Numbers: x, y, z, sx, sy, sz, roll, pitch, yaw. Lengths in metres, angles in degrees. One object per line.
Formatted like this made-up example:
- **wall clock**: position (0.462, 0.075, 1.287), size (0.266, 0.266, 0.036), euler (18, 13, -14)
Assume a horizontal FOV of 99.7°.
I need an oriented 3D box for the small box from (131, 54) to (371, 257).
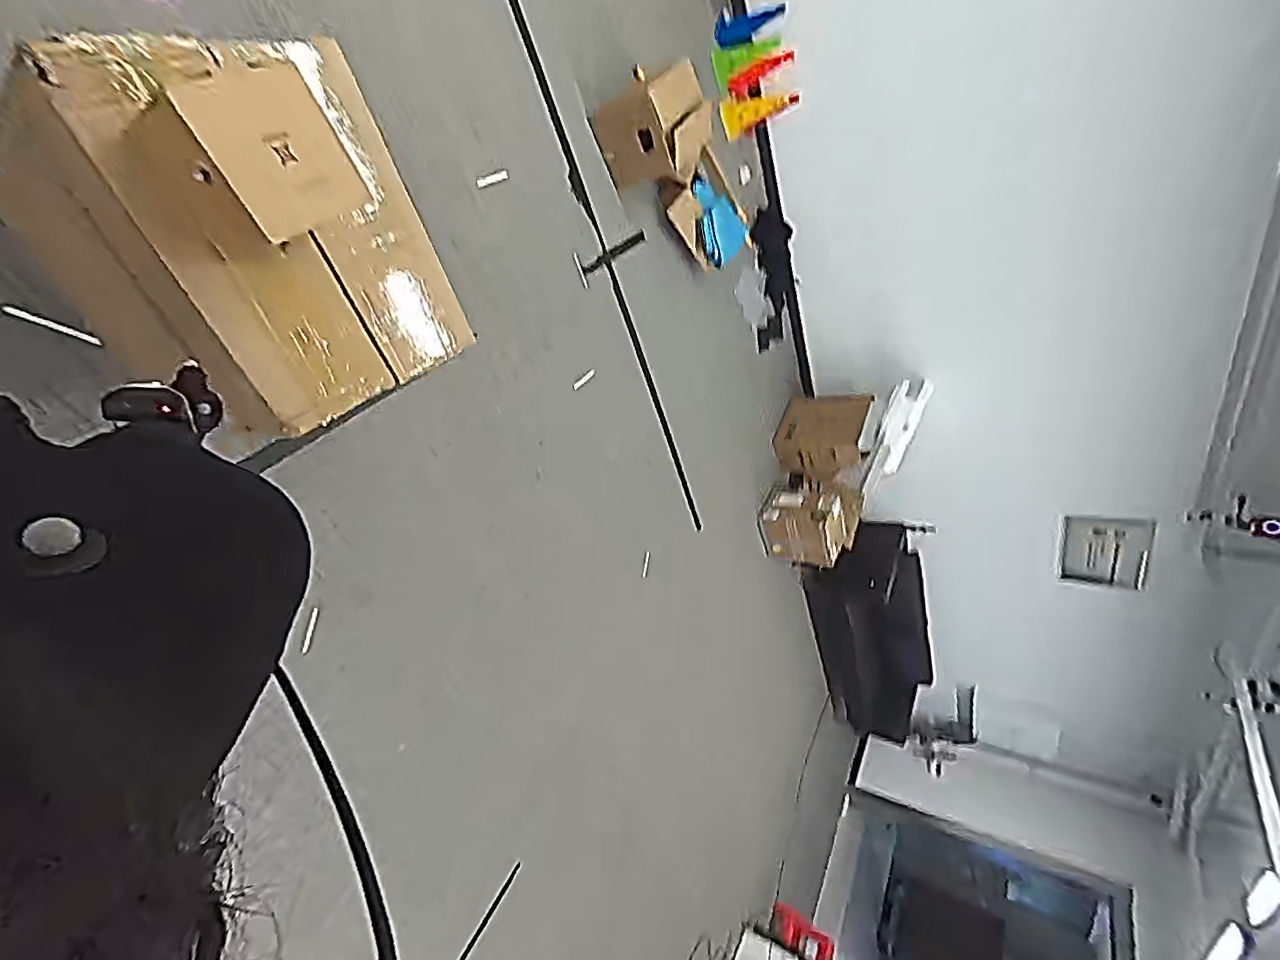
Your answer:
- **small box**: position (-0.513, -0.422, 0.720), size (0.168, 0.176, 0.179), euler (-51, 134, -36)
